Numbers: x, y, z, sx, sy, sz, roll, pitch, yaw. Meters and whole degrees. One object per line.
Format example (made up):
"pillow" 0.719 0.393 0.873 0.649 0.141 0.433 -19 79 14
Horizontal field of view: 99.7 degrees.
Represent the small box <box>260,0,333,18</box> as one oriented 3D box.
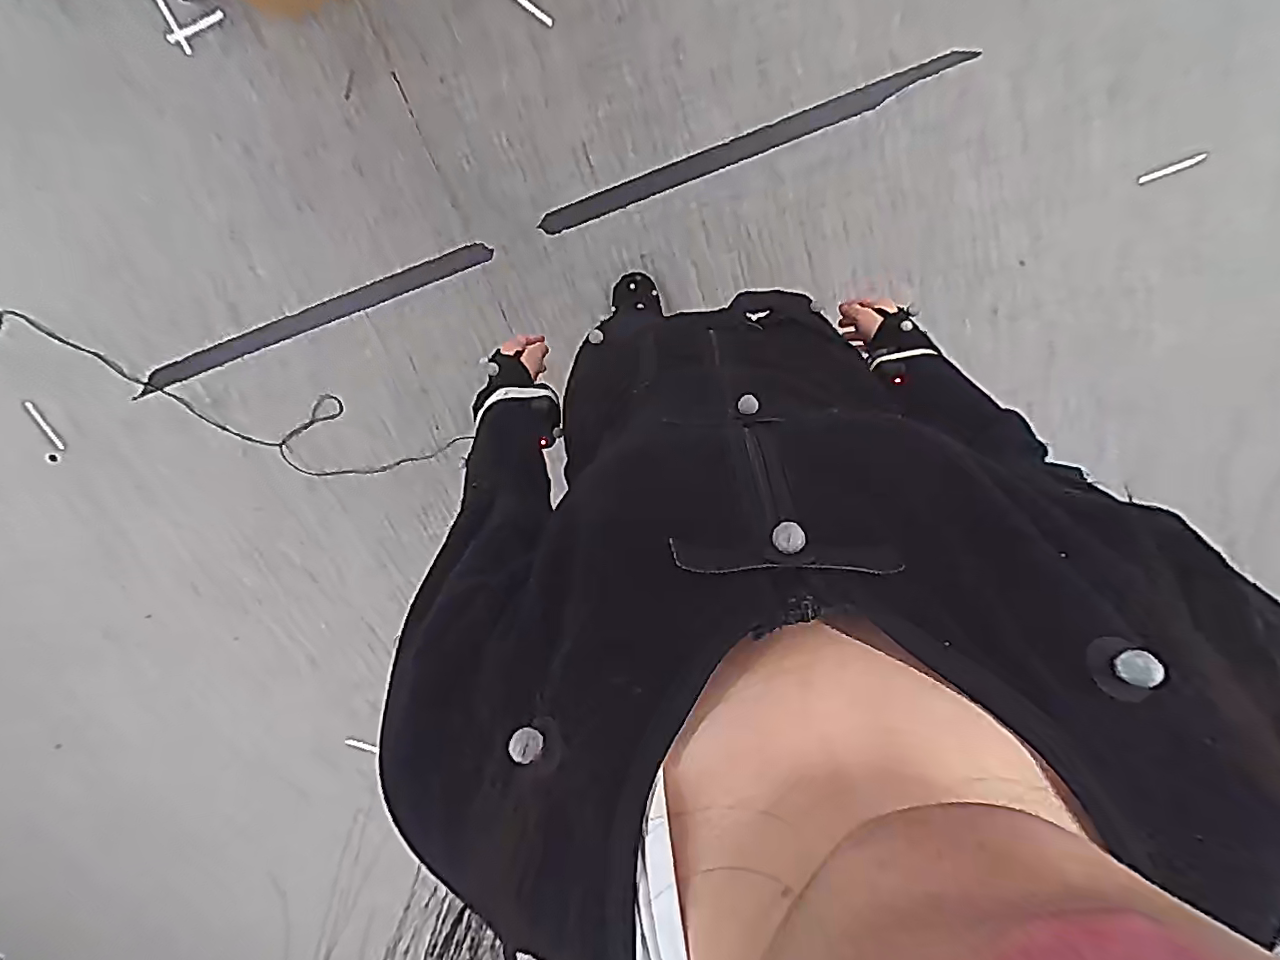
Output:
"small box" -0.699 -1.041 1.038 0.179 0.176 0.168 -19 112 5
